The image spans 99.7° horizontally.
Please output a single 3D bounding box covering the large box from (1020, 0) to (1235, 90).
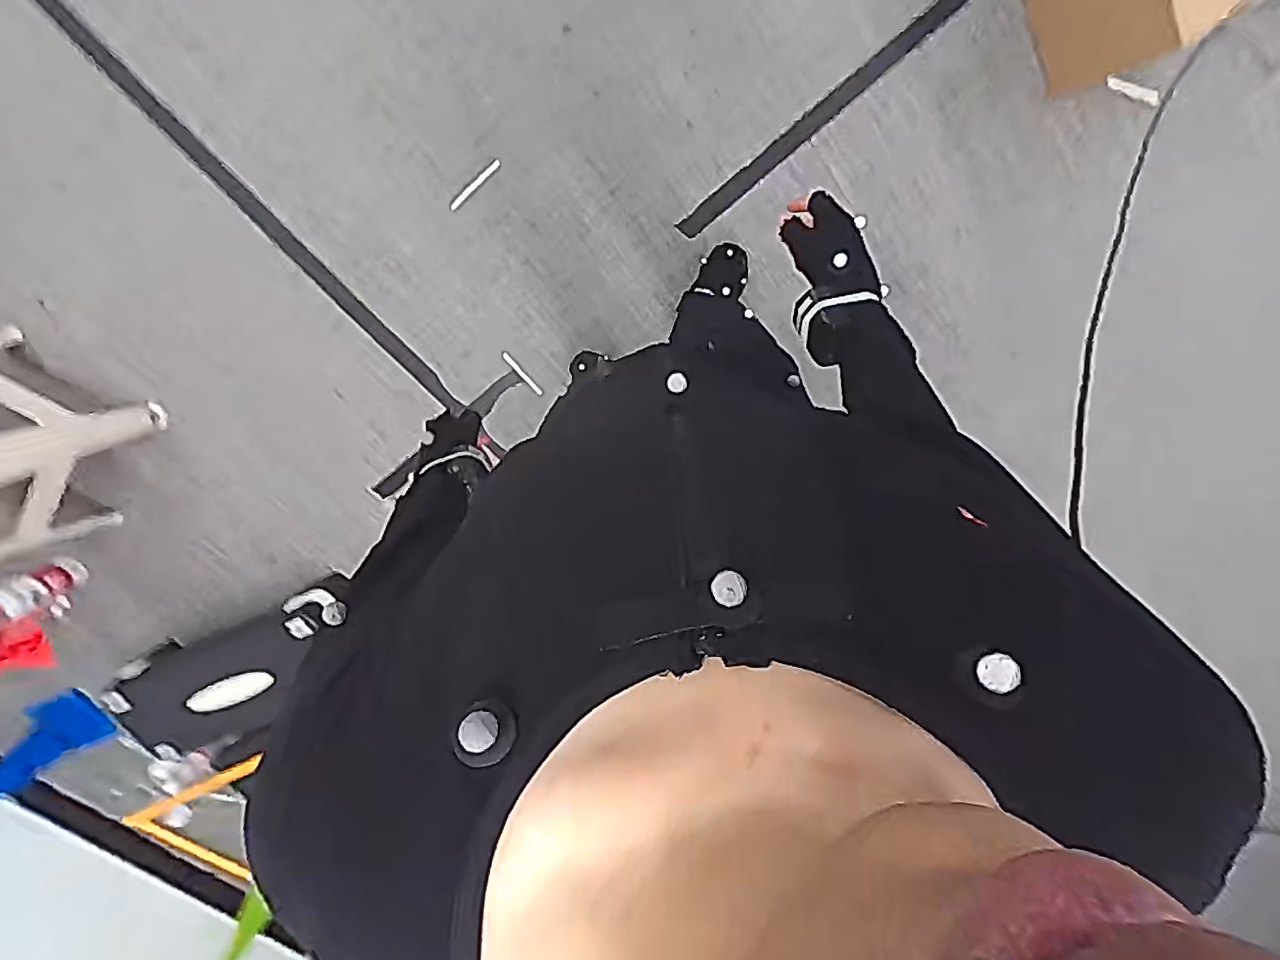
[{"bbox_3d":[0.978,-1.086,1.039,0.320,0.320,0.408,-32,109,9],"label":"large box"}]
